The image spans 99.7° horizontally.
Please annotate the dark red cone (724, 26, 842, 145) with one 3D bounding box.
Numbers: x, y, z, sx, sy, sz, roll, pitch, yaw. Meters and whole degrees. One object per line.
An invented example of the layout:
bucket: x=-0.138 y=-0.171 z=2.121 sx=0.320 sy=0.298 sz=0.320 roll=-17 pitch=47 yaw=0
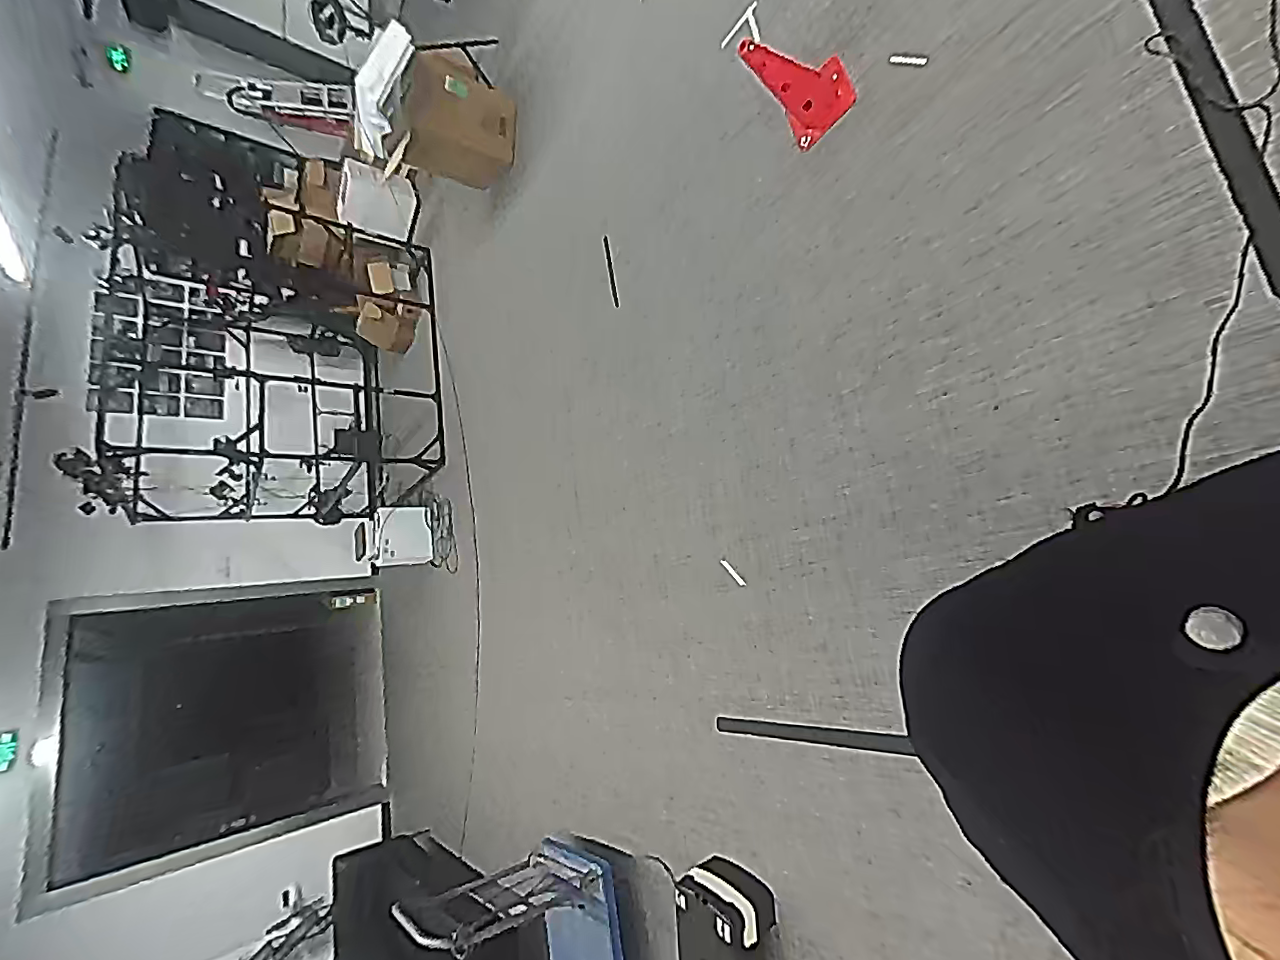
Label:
dark red cone: x=0.386 y=-1.169 z=1.549 sx=0.201 sy=0.394 sz=0.202 roll=-33 pitch=63 yaw=45
